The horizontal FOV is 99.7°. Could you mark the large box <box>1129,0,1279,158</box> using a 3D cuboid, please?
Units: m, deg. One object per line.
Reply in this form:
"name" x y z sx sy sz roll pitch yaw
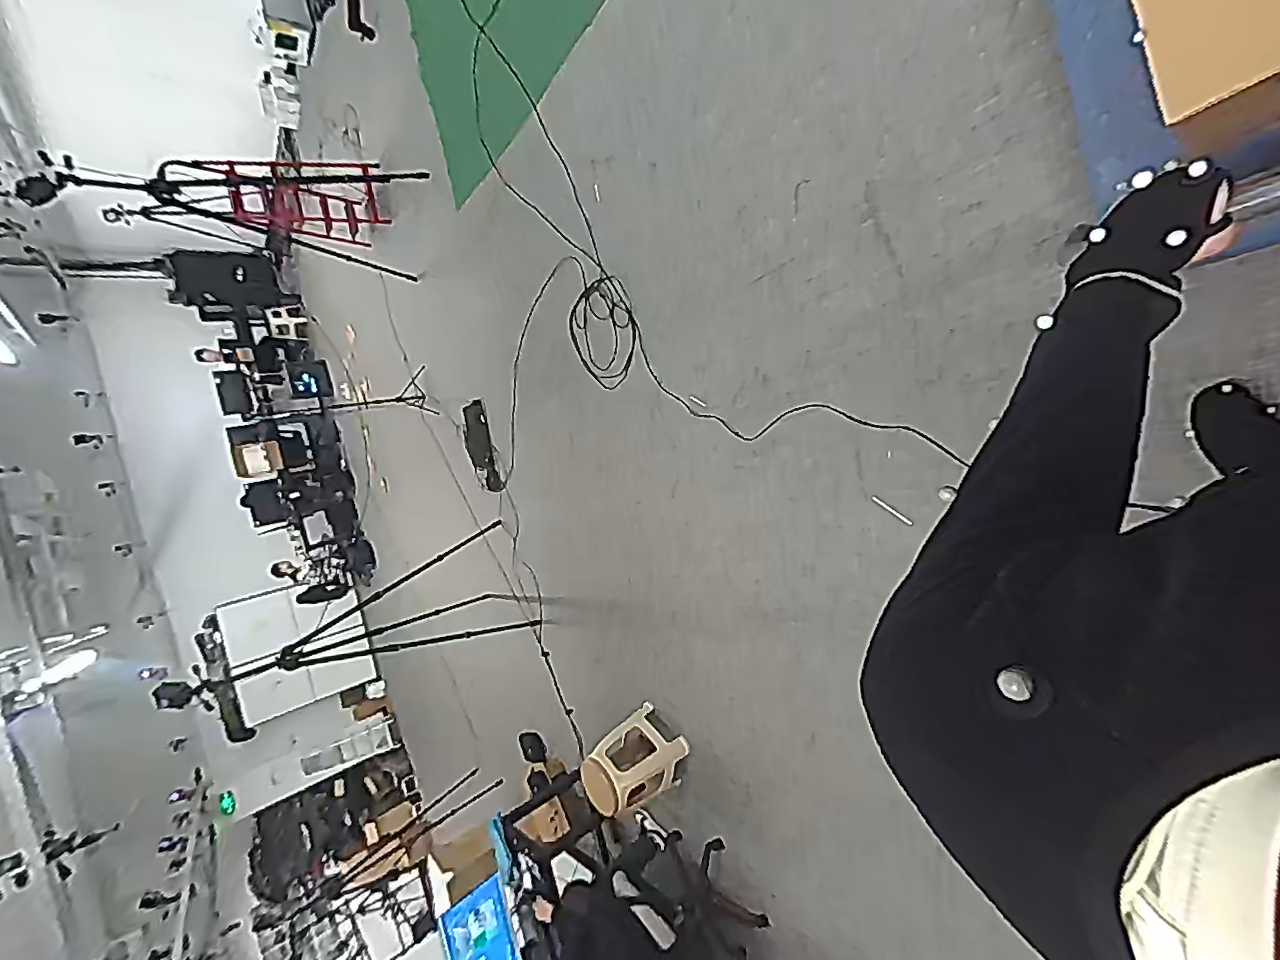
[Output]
"large box" 0.934 -0.764 0.773 0.320 0.320 0.408 -15 89 51
